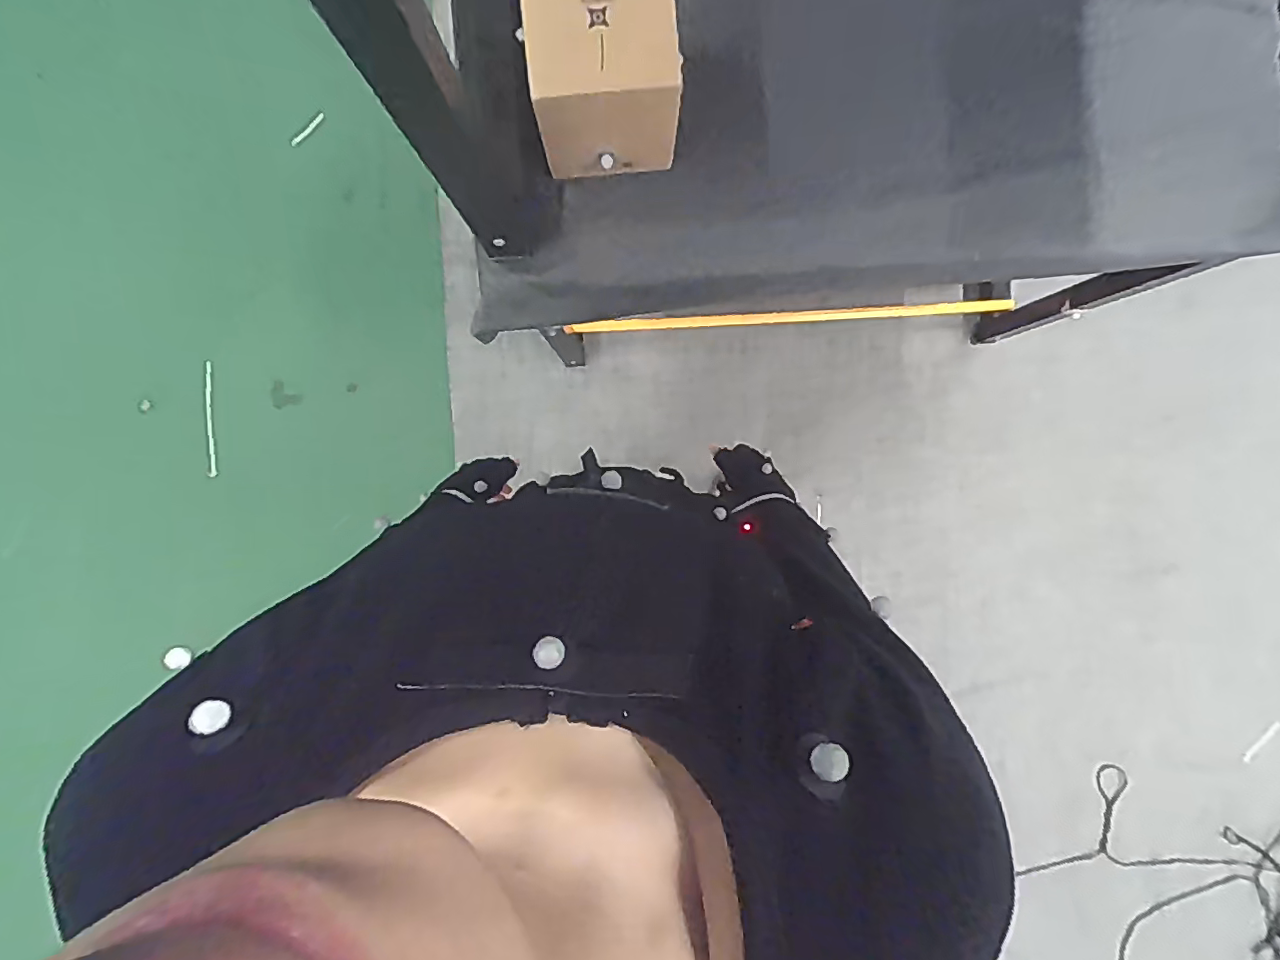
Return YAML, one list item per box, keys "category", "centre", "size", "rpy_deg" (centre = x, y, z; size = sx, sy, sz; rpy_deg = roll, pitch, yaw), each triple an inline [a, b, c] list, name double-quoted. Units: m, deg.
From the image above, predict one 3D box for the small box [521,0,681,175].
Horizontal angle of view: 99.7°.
- category: "small box"
  centre: [-0.046, -0.503, 0.651]
  size: [0.168, 0.176, 0.179]
  rpy_deg: [-6, 92, 0]
